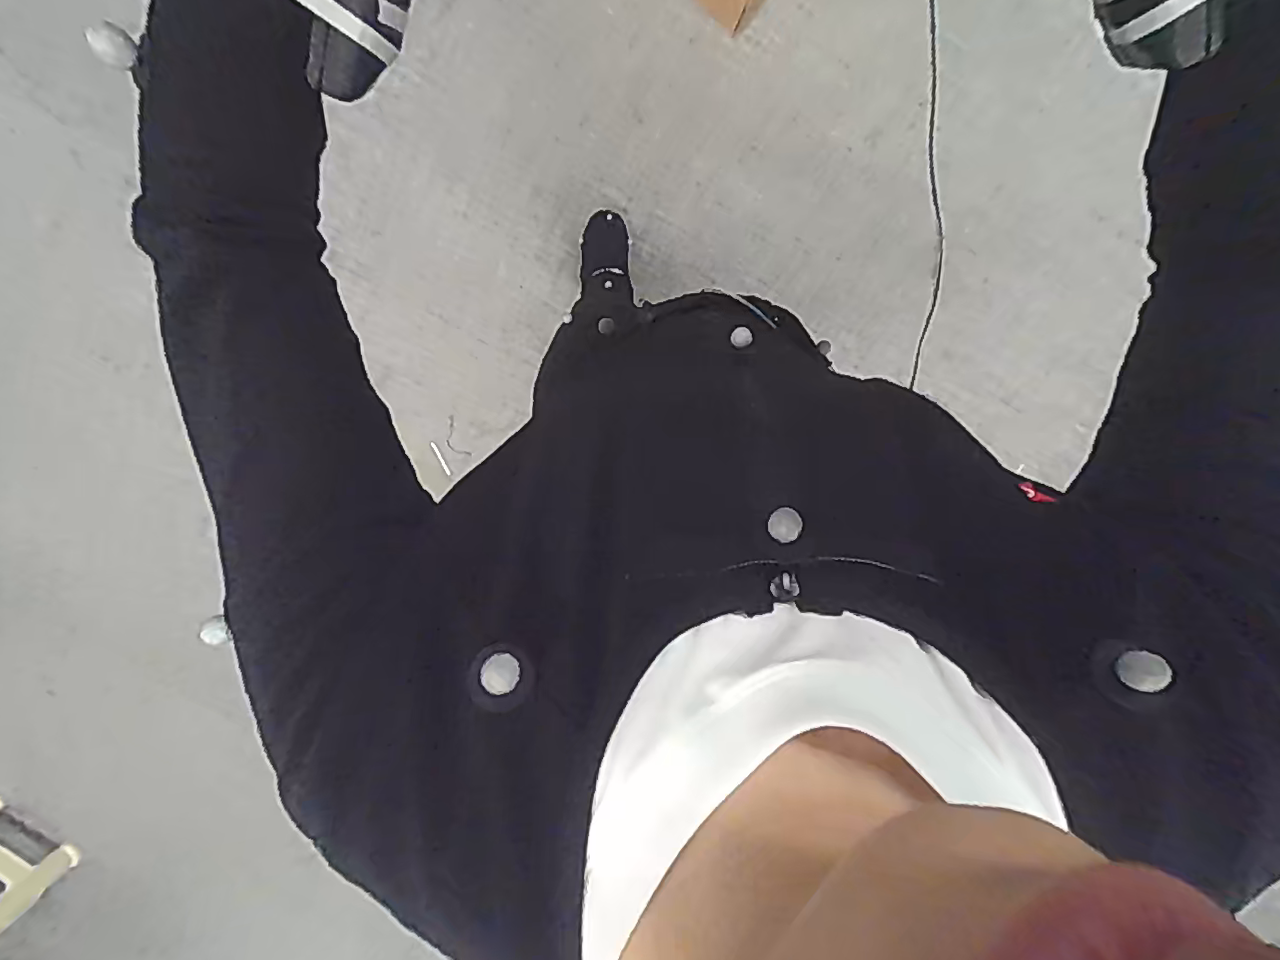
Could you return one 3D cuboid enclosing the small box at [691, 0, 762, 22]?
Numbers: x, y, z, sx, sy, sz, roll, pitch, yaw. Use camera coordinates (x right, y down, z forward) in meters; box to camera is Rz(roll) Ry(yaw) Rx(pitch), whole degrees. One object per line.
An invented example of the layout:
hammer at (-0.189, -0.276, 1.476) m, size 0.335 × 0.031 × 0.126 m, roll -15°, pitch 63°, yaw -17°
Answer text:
small box at (0.050, -0.382, 0.252) m, size 0.179 × 0.176 × 0.168 m, roll 39°, pitch 101°, yaw -13°
